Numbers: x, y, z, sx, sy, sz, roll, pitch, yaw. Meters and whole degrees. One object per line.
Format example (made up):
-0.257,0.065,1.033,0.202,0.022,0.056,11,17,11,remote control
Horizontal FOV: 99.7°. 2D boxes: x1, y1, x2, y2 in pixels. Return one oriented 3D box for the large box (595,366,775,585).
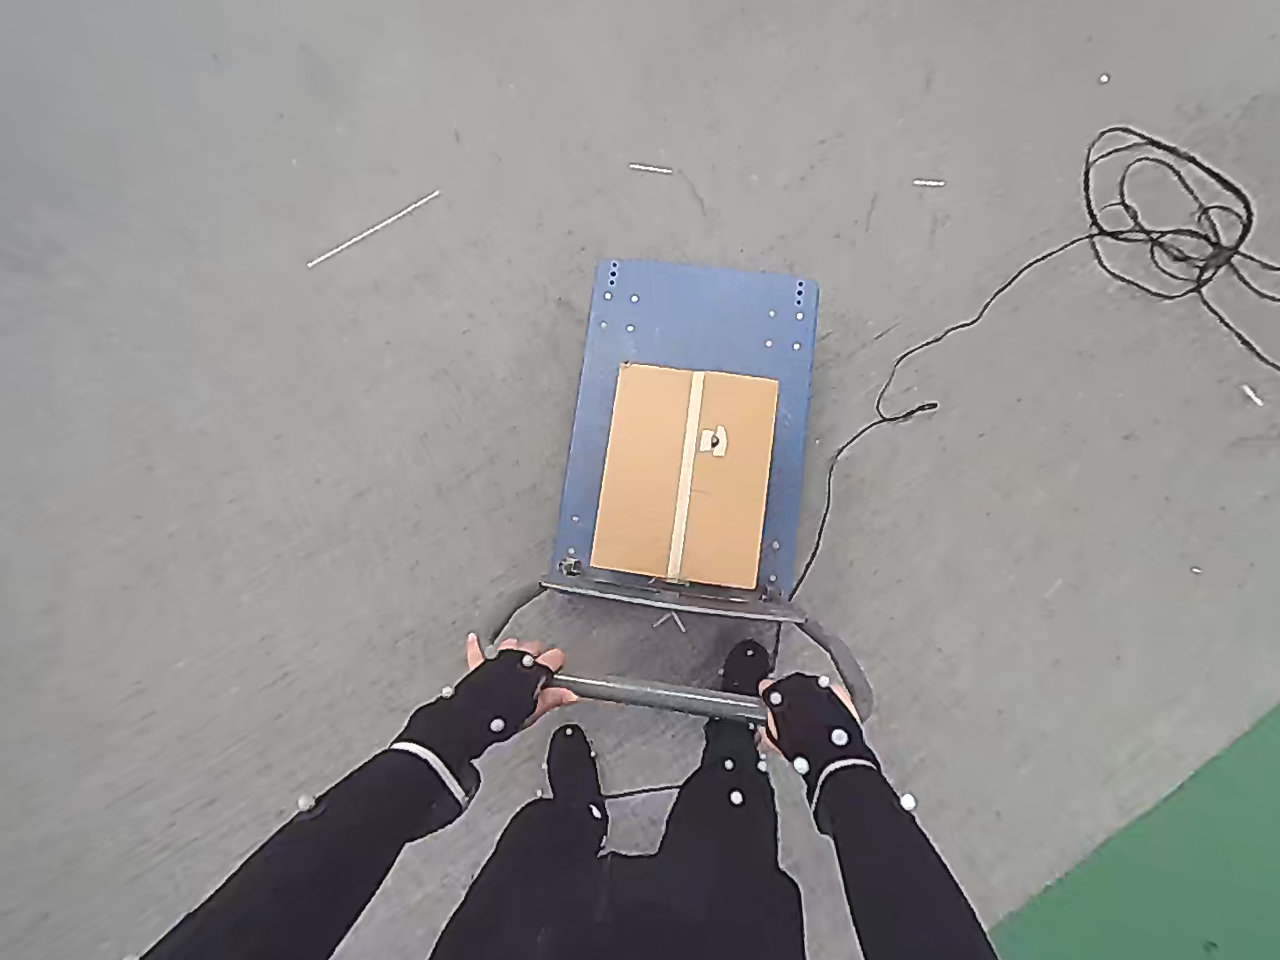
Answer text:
0.098,0.006,1.177,0.320,0.320,0.408,7,83,4,large box
